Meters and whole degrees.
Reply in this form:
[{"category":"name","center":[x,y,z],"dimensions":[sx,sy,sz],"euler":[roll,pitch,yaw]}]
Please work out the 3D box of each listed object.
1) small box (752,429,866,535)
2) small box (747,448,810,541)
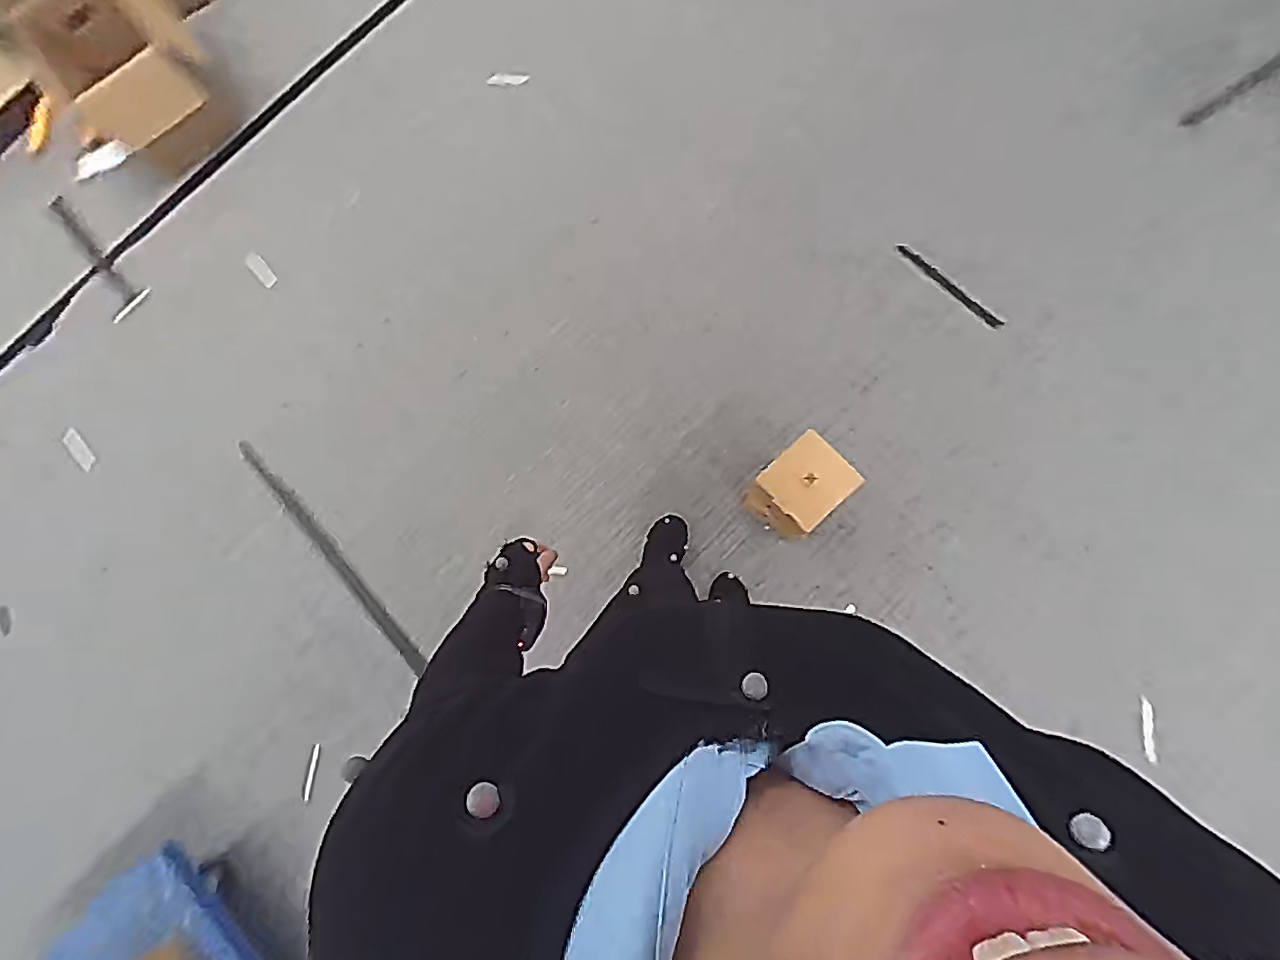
[{"category":"small box","center":[0.382,0.012,1.259],"dimensions":[0.179,0.176,0.168],"euler":[-43,81,-2]},{"category":"small box","center":[0.396,0.044,1.419],"dimensions":[0.168,0.176,0.179],"euler":[34,86,9]}]
